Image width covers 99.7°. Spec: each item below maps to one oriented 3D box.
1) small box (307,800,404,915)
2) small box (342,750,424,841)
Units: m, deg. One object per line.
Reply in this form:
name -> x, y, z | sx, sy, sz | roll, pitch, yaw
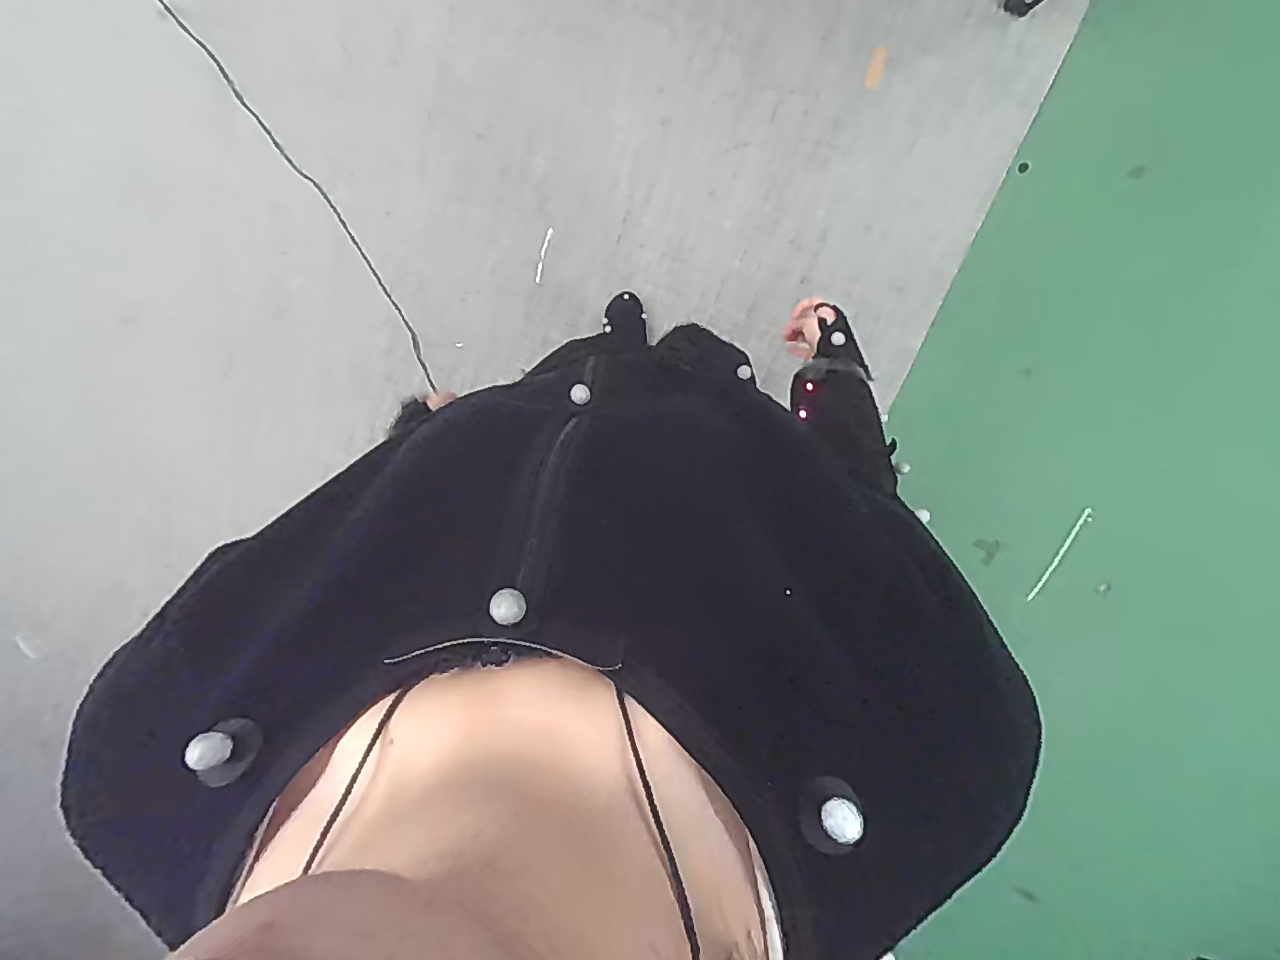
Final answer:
small box -> -0.748, 0.982, 1.419 | 0.179, 0.176, 0.168 | 17, 107, -4
small box -> -0.750, 0.925, 1.574 | 0.168, 0.176, 0.179 | 16, 107, -3
